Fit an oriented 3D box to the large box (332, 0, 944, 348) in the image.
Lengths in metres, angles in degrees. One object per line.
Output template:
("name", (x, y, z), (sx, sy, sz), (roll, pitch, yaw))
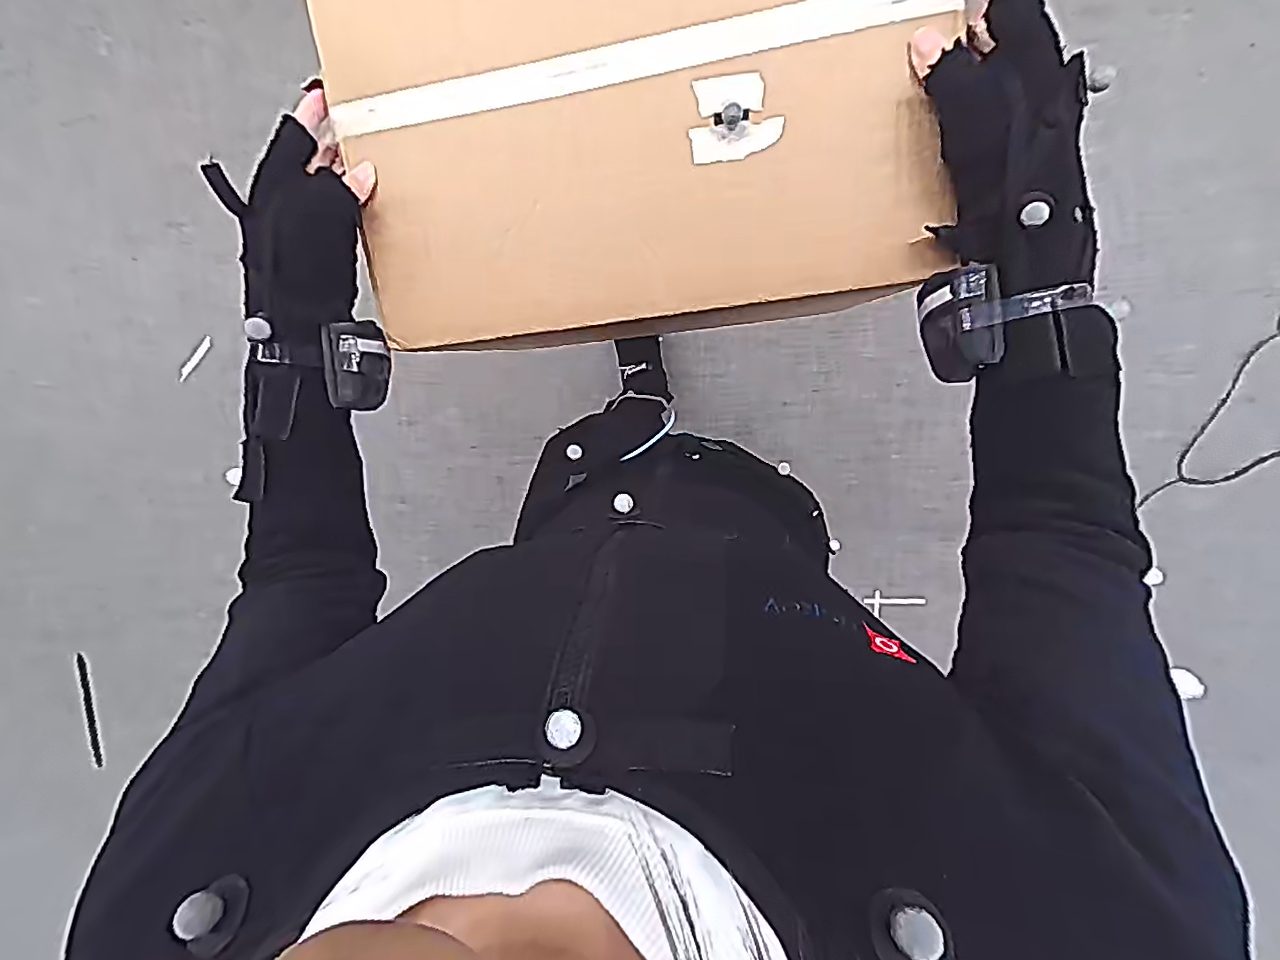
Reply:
("large box", (0.008, -0.308, 0.506), (0.408, 0.320, 0.320), (-5, 103, 8))
